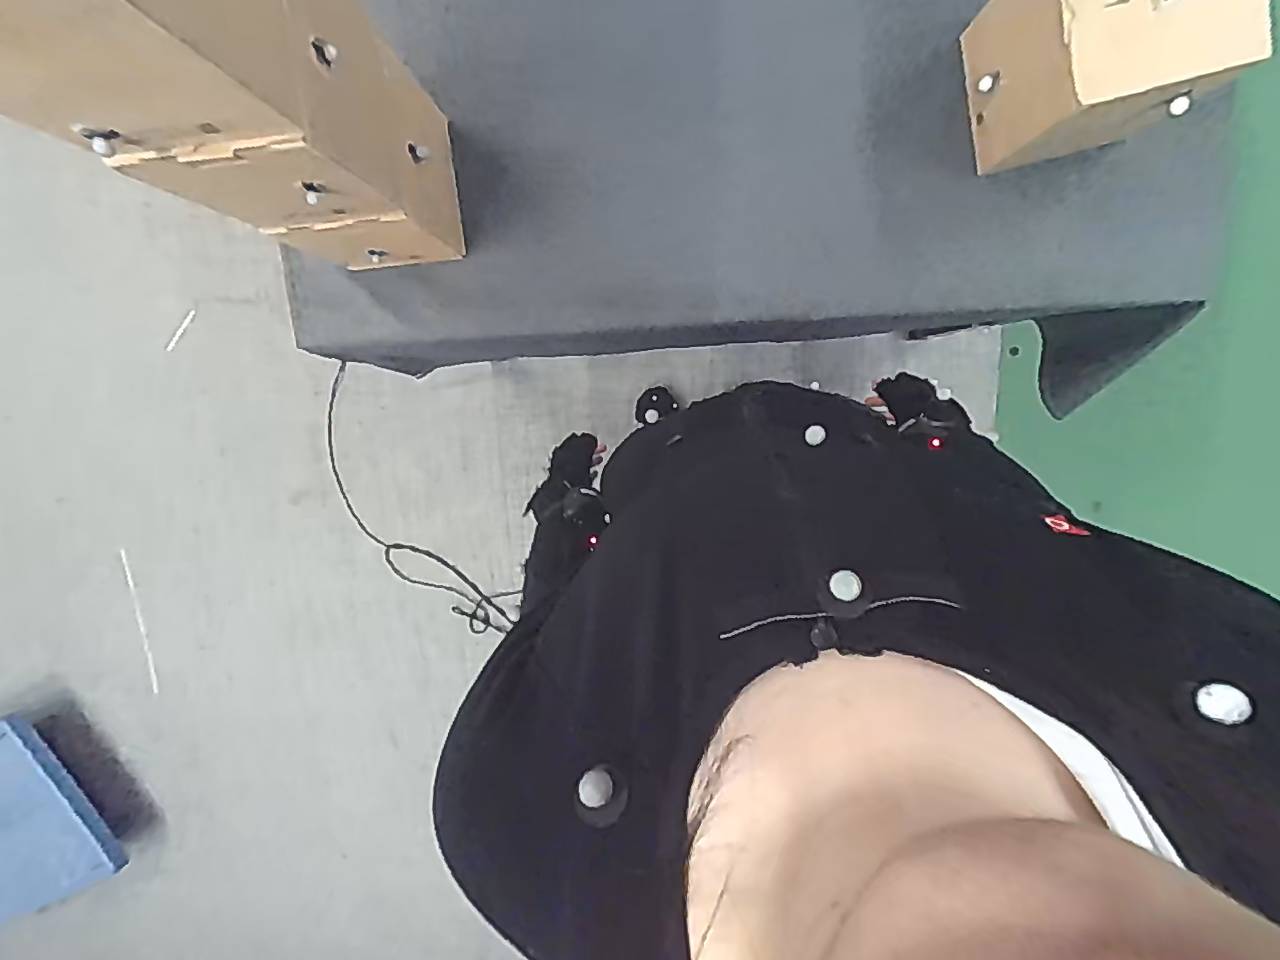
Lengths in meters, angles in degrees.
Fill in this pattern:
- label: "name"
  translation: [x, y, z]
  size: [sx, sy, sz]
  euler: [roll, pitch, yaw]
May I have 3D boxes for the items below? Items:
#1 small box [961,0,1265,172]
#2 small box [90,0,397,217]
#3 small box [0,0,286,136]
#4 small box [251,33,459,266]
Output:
- label: "small box"
  translation: [0.479, -0.460, 0.571]
  size: [0.179, 0.176, 0.168]
  euler: [-12, 98, 6]
- label: "small box"
  translation: [-0.335, -0.344, 0.472]
  size: [0.168, 0.176, 0.179]
  euler: [-4, 99, 2]
- label: "small box"
  translation: [-0.342, -0.325, 0.309]
  size: [0.168, 0.176, 0.179]
  euler: [-5, 99, 2]
- label: "small box"
  translation: [-0.329, -0.367, 0.633]
  size: [0.168, 0.176, 0.179]
  euler: [-5, 99, 3]
